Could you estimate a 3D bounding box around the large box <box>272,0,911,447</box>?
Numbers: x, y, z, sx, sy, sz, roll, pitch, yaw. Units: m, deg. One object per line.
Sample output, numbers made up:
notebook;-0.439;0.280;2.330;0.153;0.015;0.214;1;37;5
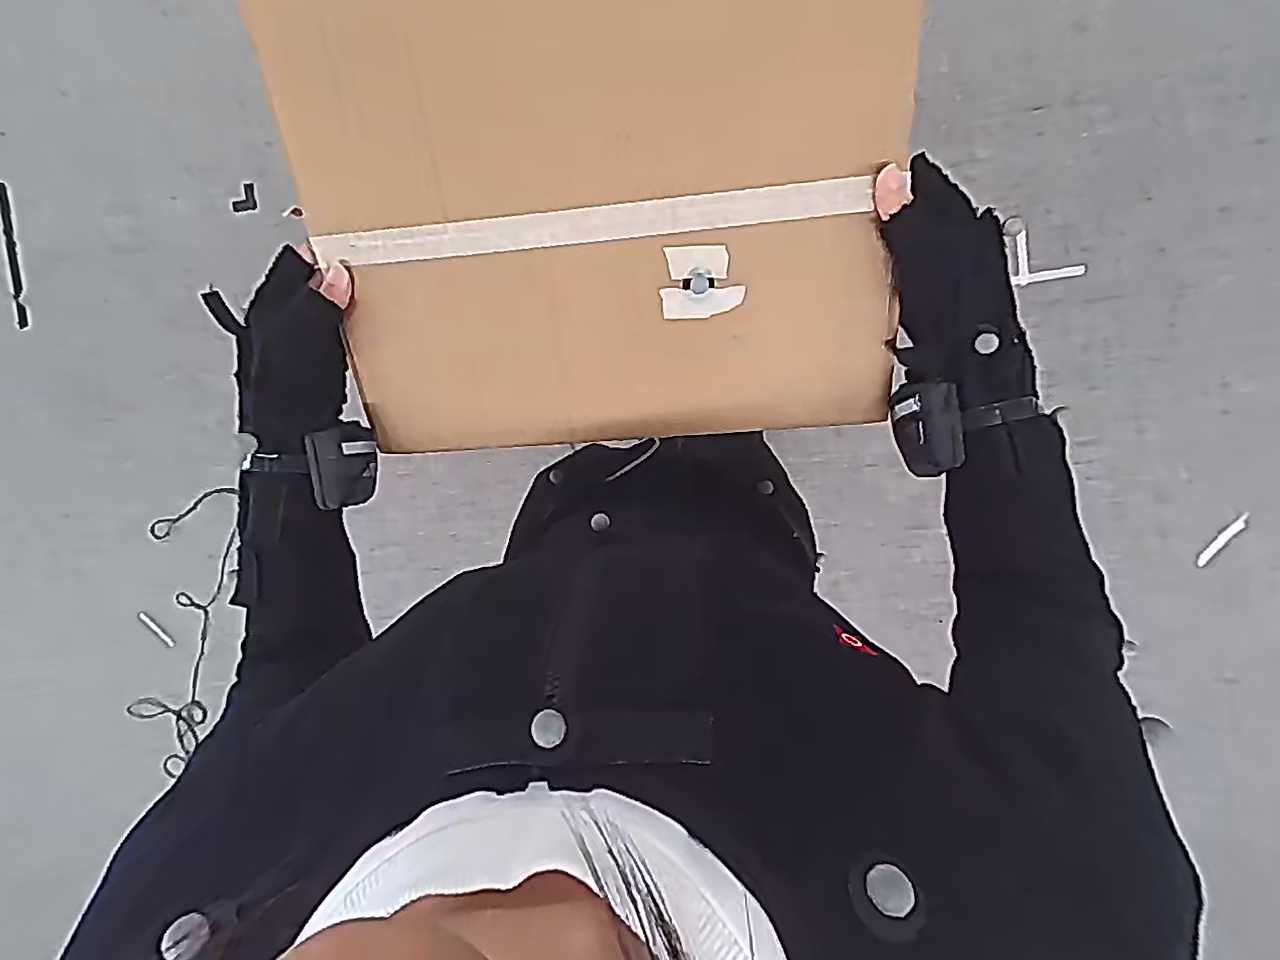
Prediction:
large box;-0.017;-0.241;0.516;0.408;0.320;0.320;-4;114;5
